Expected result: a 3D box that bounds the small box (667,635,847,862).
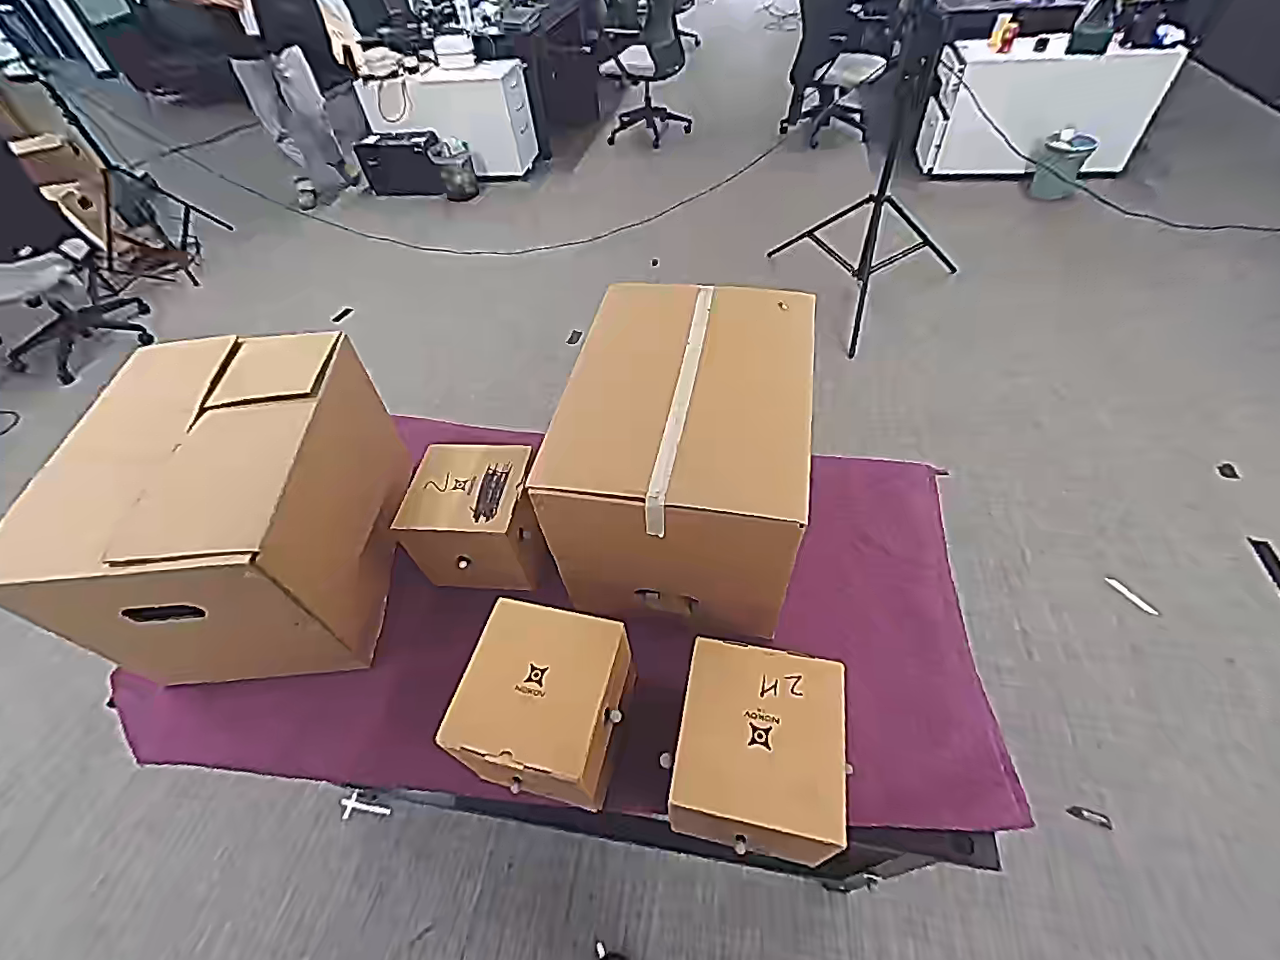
[{"bbox_3d":[0.130,0.303,0.608,0.168,0.176,0.179,8,50,11],"label":"small box"}]
